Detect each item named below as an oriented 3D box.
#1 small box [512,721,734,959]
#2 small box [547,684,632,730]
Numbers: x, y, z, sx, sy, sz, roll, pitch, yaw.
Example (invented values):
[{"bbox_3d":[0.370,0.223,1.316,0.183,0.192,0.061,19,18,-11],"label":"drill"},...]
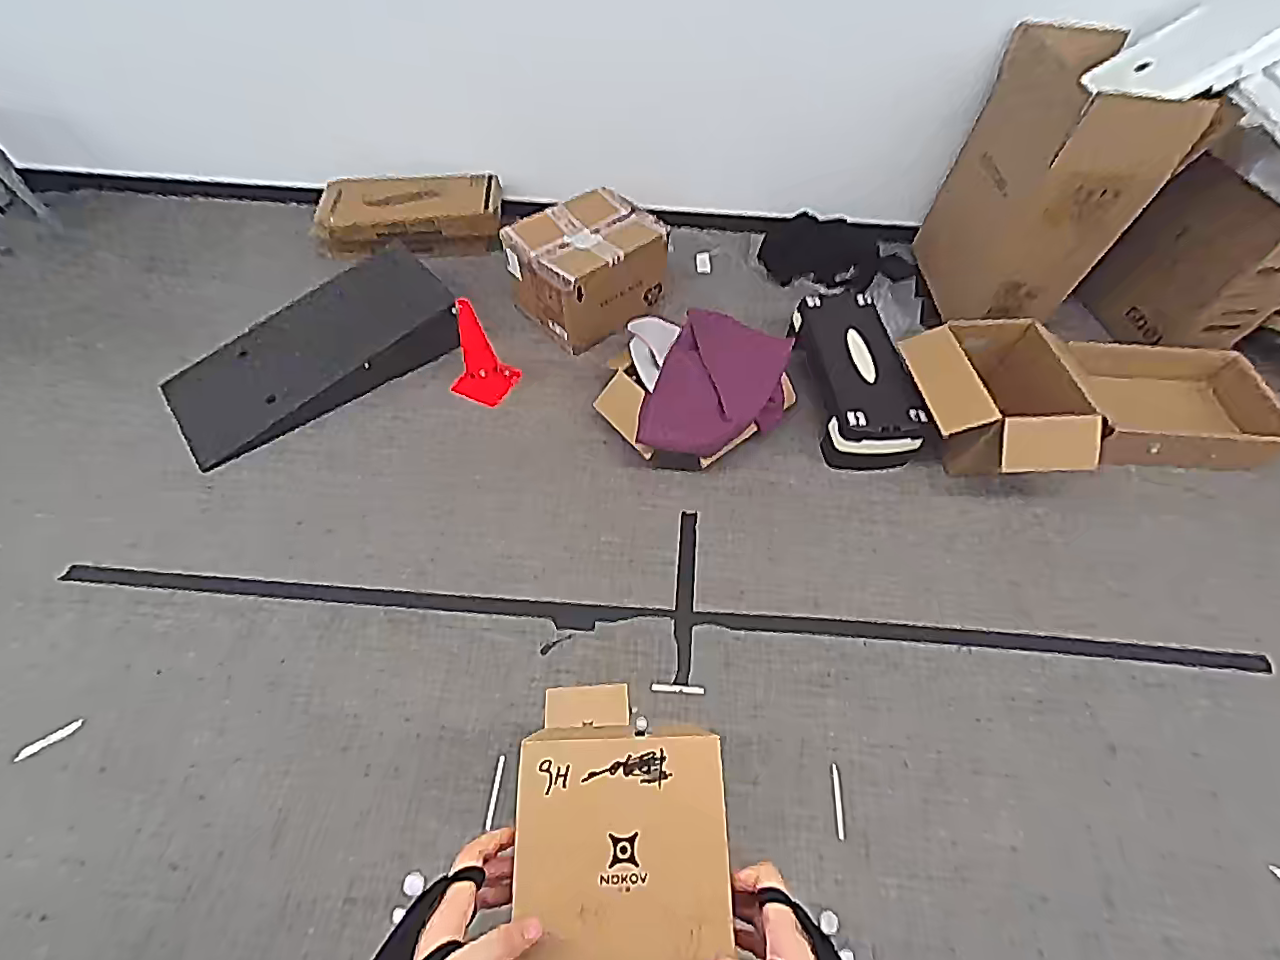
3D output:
[{"bbox_3d":[-0.015,0.321,0.487,0.168,0.176,0.179,-1,70,-3],"label":"small box"},{"bbox_3d":[-0.098,0.530,1.097,0.168,0.176,0.179,-3,56,-2],"label":"small box"}]
